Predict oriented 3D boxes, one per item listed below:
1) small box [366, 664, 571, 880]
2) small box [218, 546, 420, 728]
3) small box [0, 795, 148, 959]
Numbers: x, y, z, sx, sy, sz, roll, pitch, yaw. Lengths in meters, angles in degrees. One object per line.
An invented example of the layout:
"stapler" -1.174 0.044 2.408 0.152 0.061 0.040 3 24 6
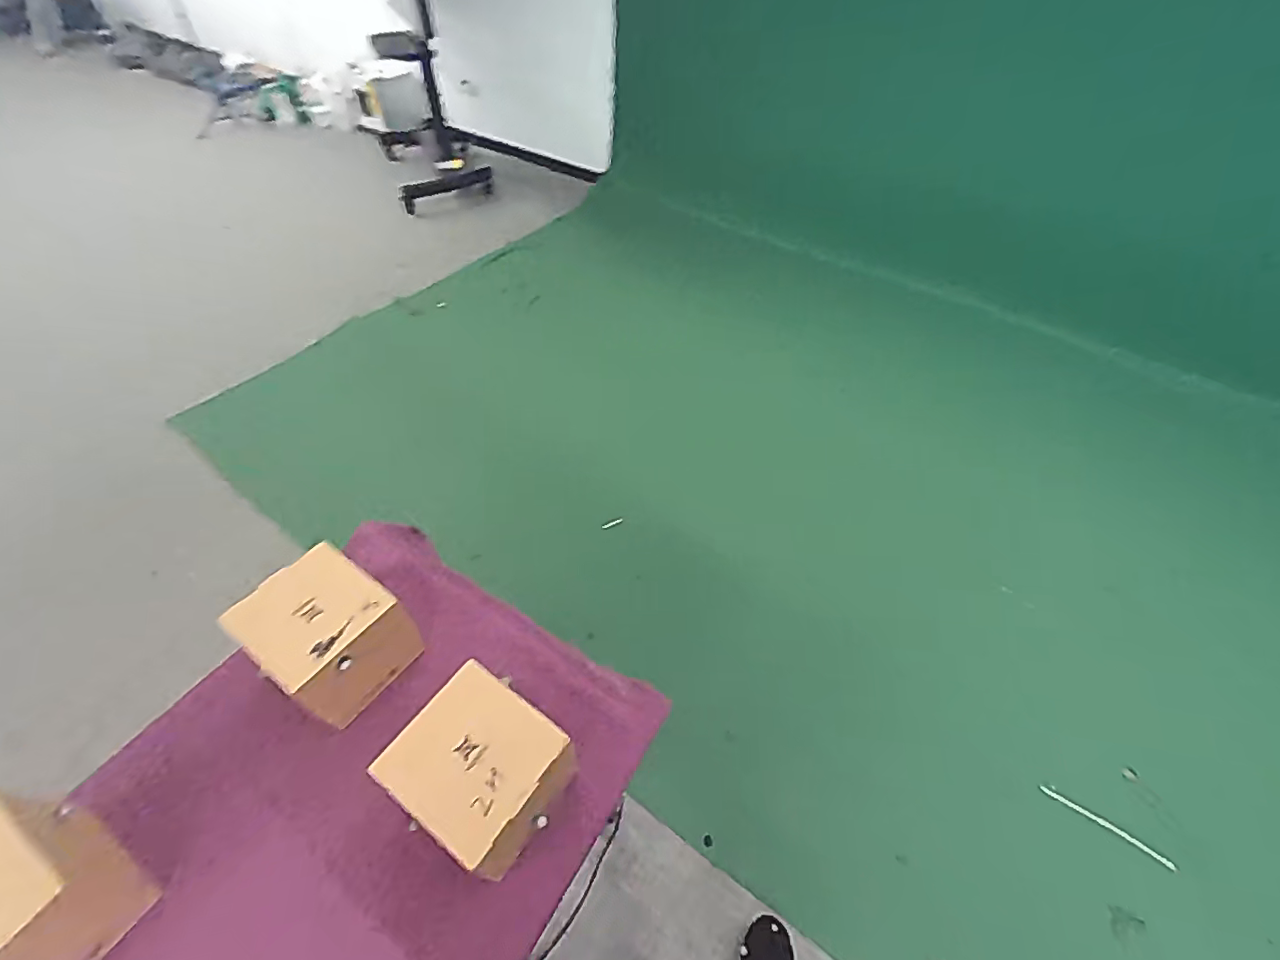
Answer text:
"small box" -0.208 0.381 0.701 0.179 0.176 0.168 29 55 20
"small box" -0.469 0.239 0.813 0.179 0.176 0.168 29 54 21
"small box" -0.708 0.483 0.585 0.179 0.176 0.168 27 53 18
